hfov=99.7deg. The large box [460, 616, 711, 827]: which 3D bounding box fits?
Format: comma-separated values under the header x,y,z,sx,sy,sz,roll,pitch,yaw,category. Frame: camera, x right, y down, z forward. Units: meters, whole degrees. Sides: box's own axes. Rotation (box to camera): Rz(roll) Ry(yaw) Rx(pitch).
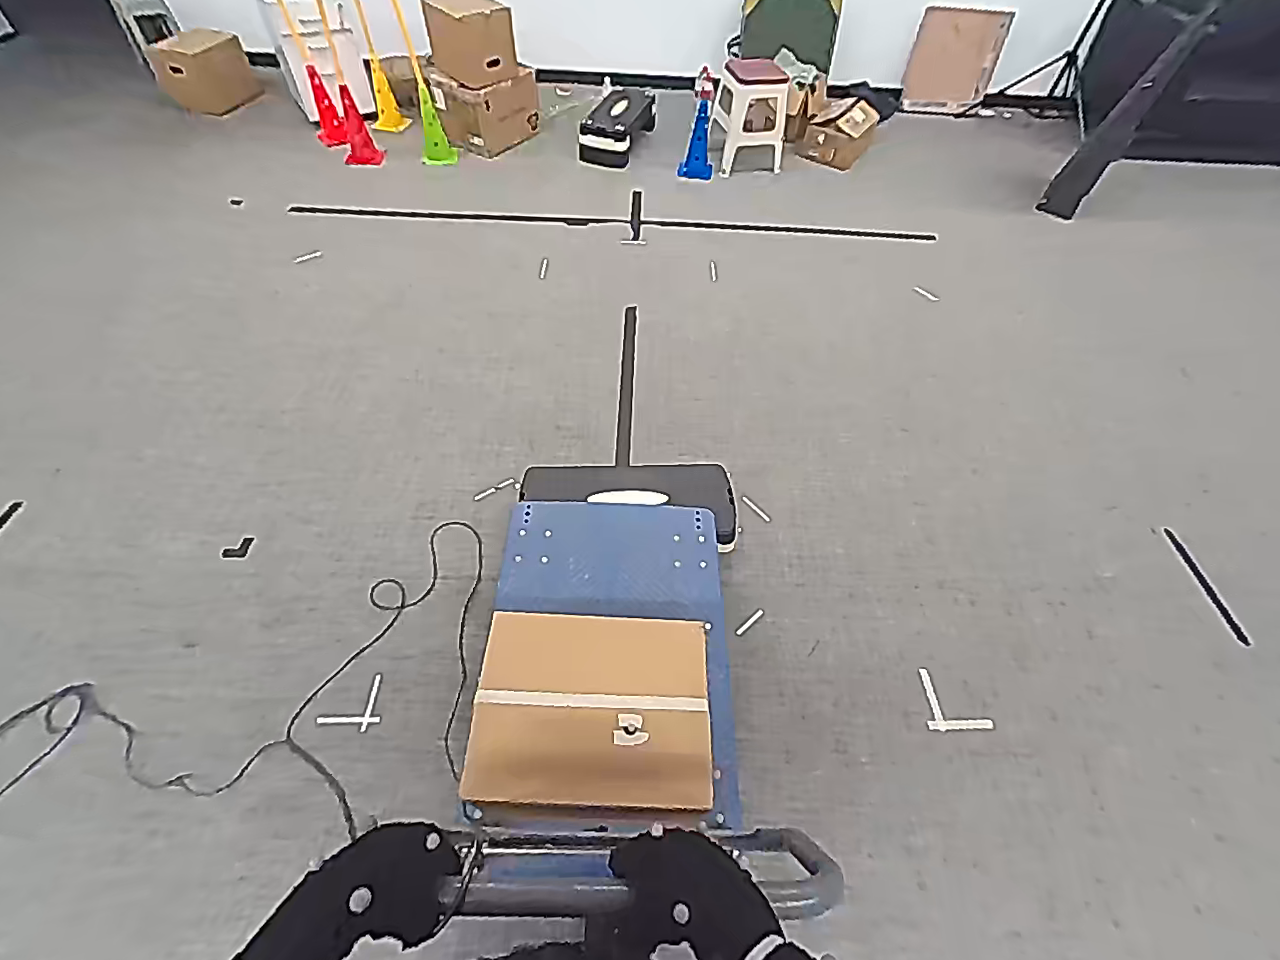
x,y,z,sx,sy,sz,roll,pitch,yaw,category
-0.093,0.480,1.054,0.408,0.320,0.320,4,53,-2,large box
